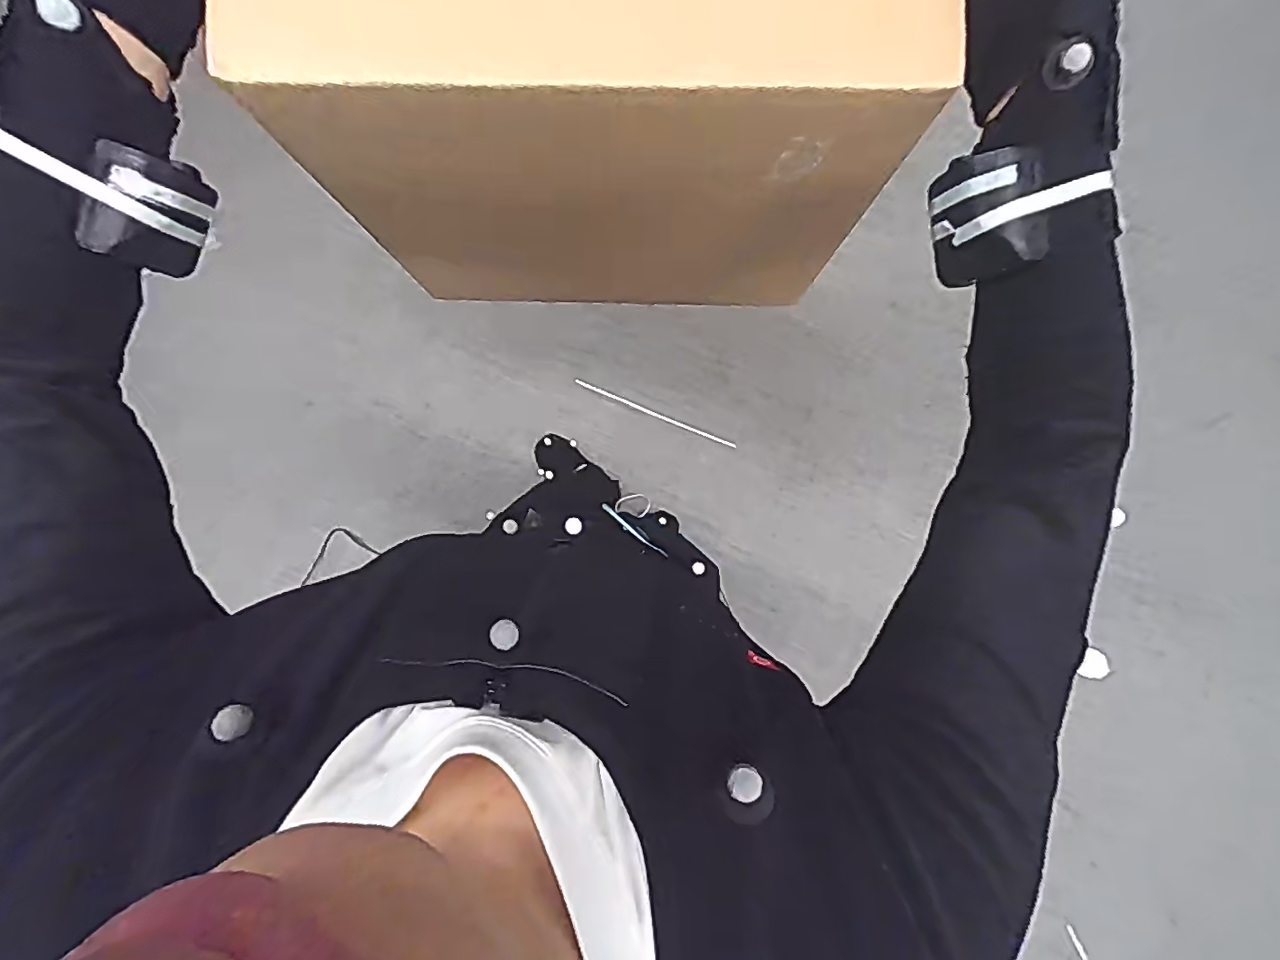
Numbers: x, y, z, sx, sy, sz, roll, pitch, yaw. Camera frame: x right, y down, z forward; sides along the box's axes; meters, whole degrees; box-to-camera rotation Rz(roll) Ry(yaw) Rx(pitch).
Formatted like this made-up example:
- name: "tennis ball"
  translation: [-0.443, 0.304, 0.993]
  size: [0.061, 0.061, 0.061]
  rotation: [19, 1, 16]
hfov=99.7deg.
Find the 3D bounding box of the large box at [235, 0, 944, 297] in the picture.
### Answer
- name: "large box"
  translation: [-0.030, -0.365, 0.460]
  size: [0.408, 0.320, 0.320]
  rotation: [0, 87, -1]
